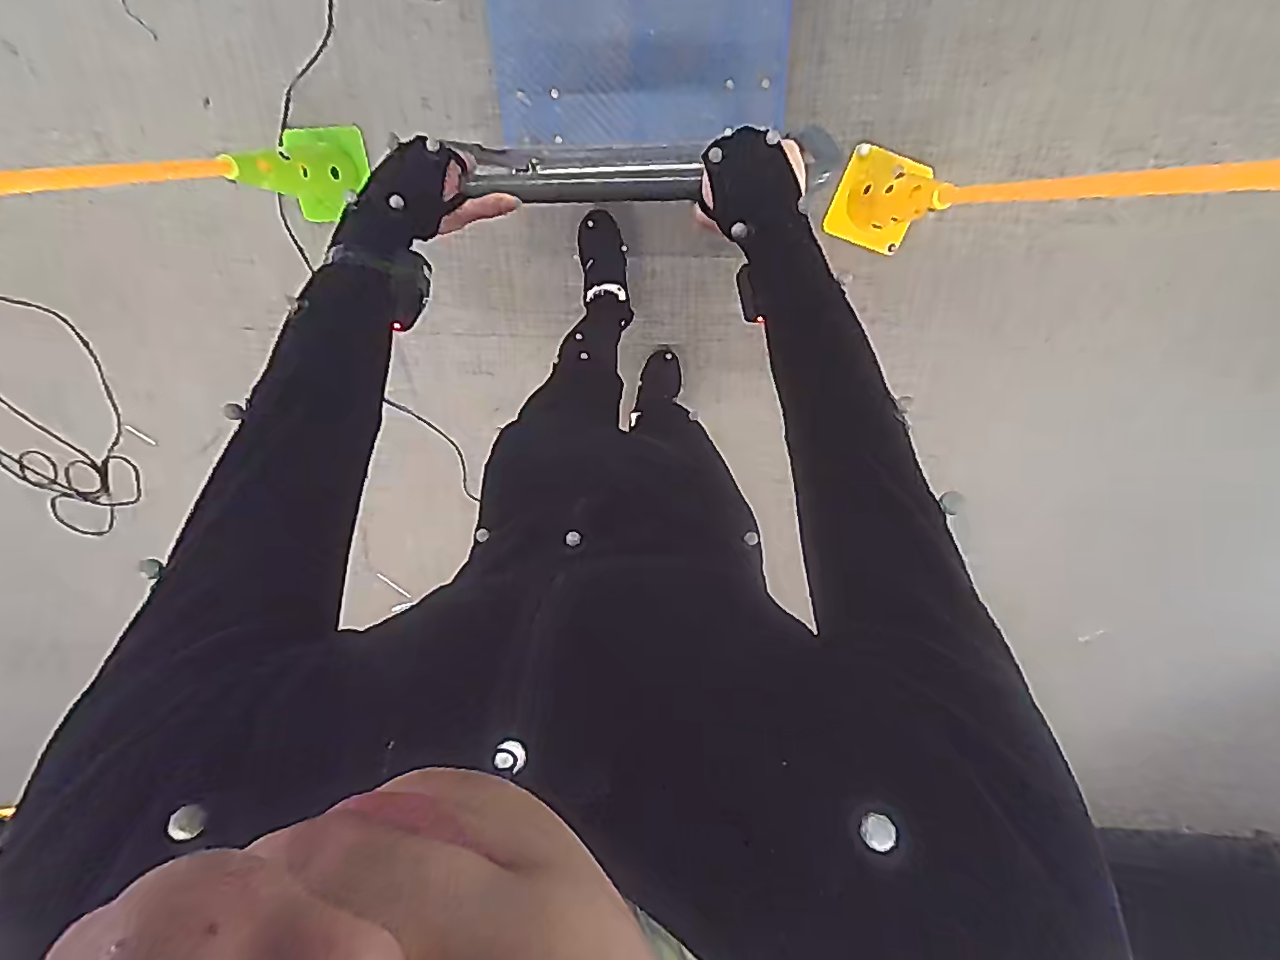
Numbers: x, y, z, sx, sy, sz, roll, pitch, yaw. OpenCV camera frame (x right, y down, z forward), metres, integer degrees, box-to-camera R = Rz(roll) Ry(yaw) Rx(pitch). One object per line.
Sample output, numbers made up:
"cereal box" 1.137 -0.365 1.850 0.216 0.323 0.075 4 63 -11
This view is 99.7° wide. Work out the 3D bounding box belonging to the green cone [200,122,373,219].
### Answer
"green cone" -0.774 -0.669 1.155 0.202 0.368 0.200 -1 116 5
